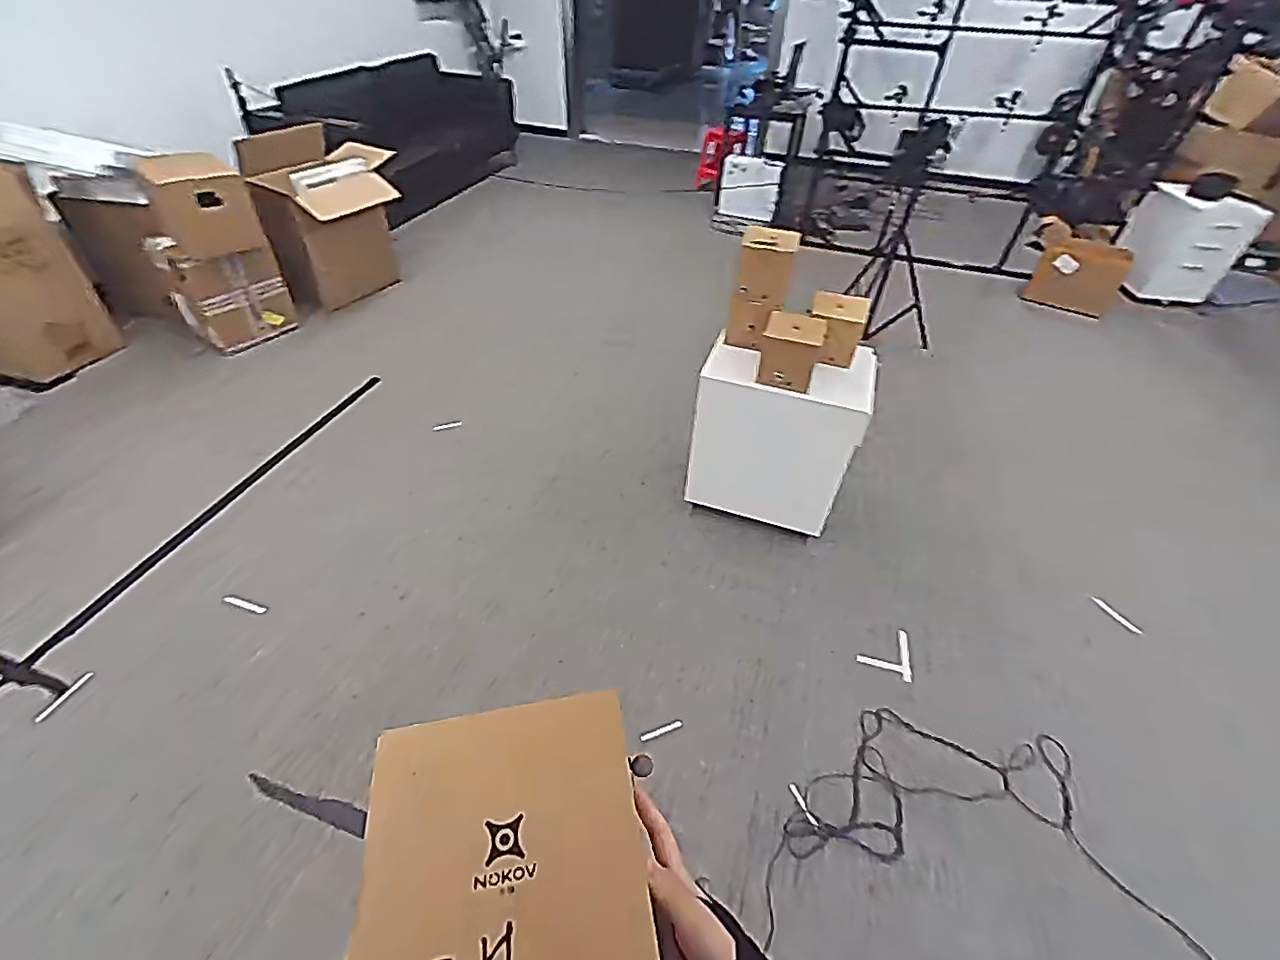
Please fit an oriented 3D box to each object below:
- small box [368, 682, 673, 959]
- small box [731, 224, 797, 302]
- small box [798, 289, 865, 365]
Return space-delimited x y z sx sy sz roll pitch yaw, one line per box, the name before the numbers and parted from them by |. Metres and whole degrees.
small box | -0.074 0.273 0.389 0.168 0.176 0.179 -8 50 -6
small box | 0.387 -0.680 1.700 0.168 0.176 0.179 13 45 10
small box | 0.621 -0.497 1.761 0.168 0.176 0.179 15 45 13
